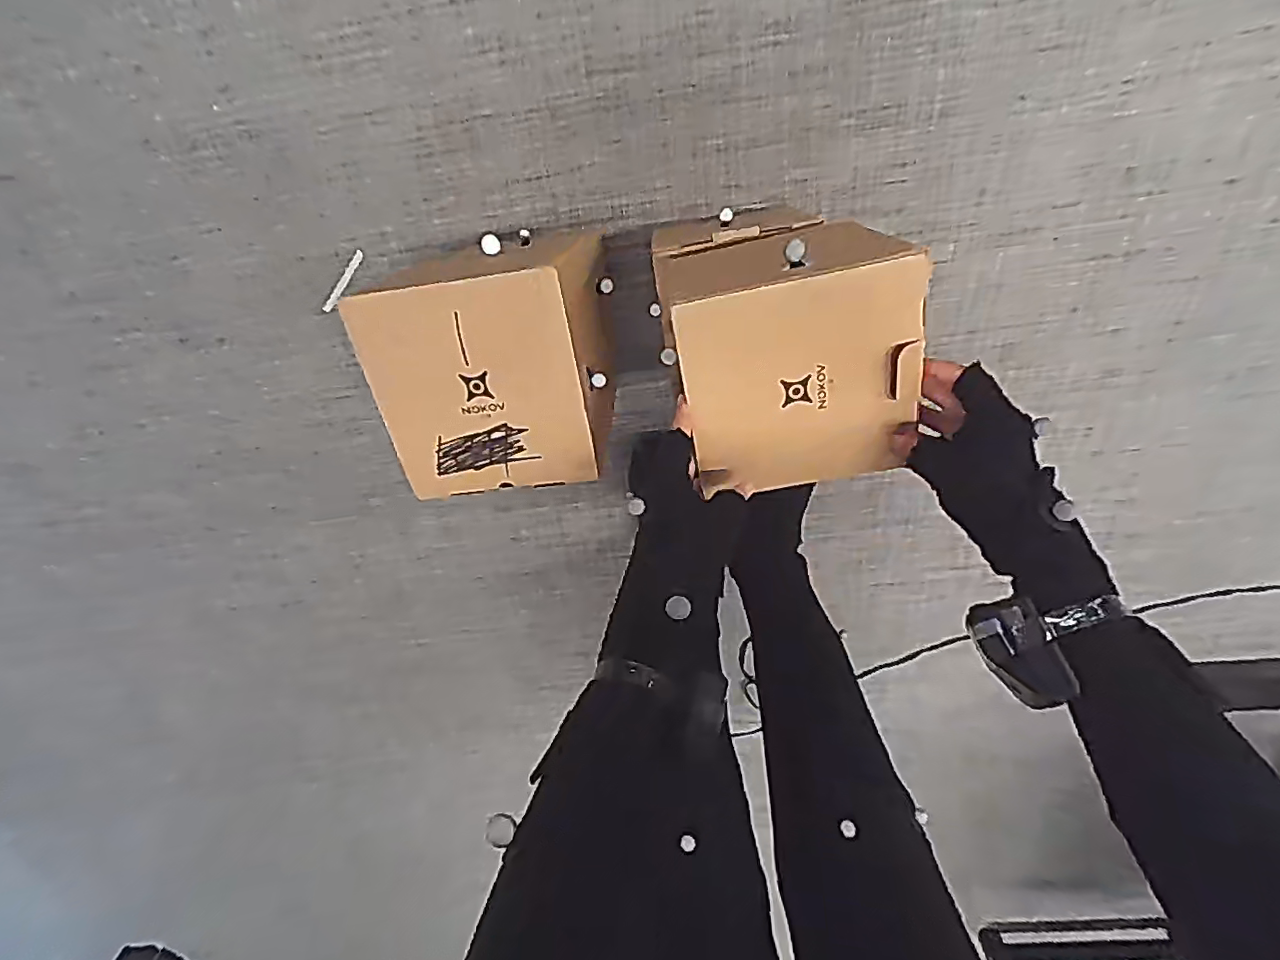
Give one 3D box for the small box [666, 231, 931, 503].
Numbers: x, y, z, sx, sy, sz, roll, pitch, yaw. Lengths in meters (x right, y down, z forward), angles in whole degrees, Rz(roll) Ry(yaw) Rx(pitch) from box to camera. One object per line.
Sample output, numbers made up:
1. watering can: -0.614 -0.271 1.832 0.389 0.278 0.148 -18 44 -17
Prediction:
1. small box: 0.120 -0.104 0.467 0.179 0.176 0.168 -10 121 6
